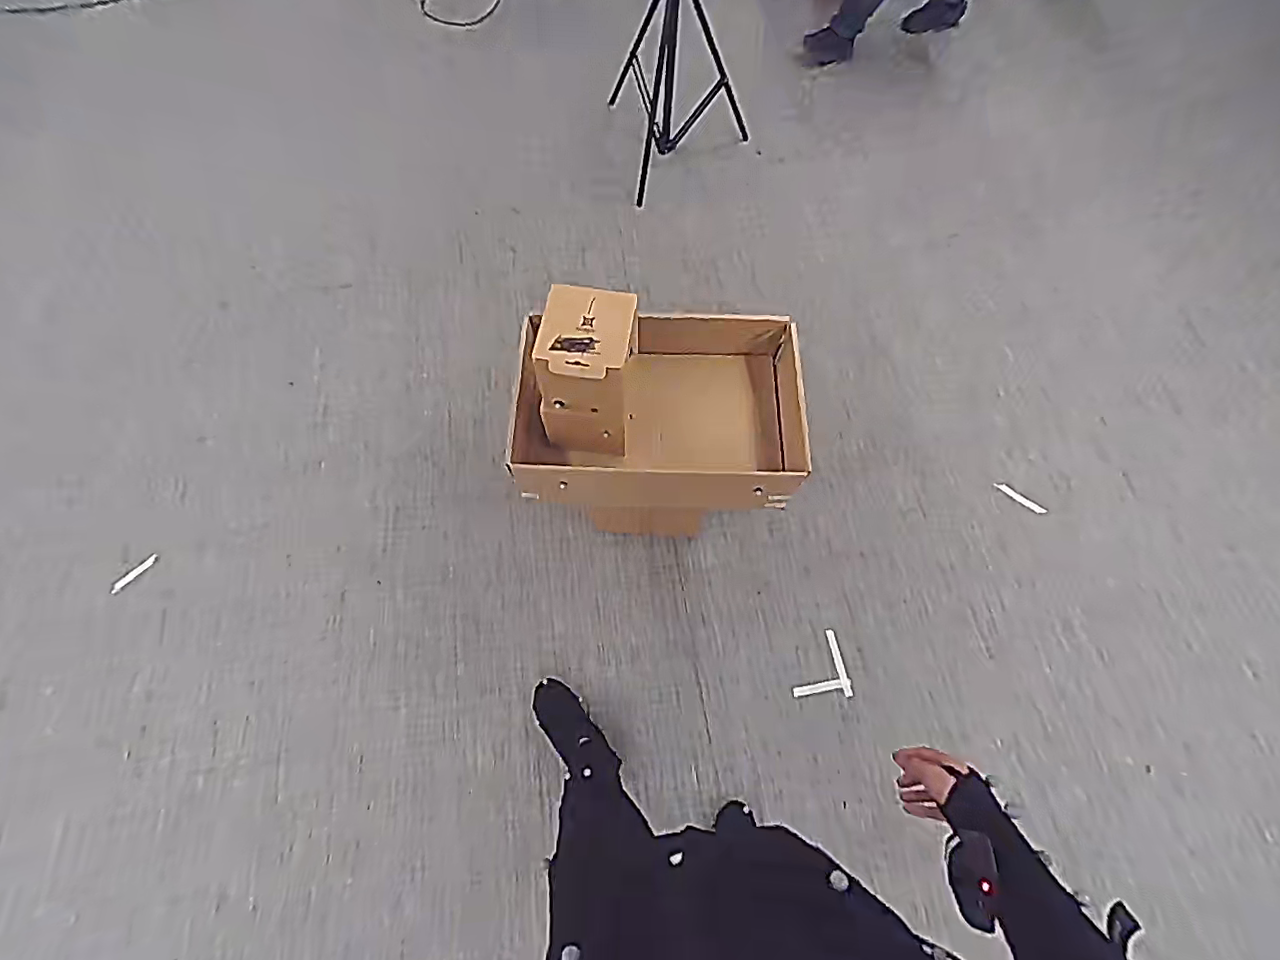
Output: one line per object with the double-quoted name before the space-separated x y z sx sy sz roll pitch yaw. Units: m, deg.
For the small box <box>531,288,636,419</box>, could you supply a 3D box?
"small box" -0.100 -0.238 1.047 0.168 0.176 0.179 8 66 2
